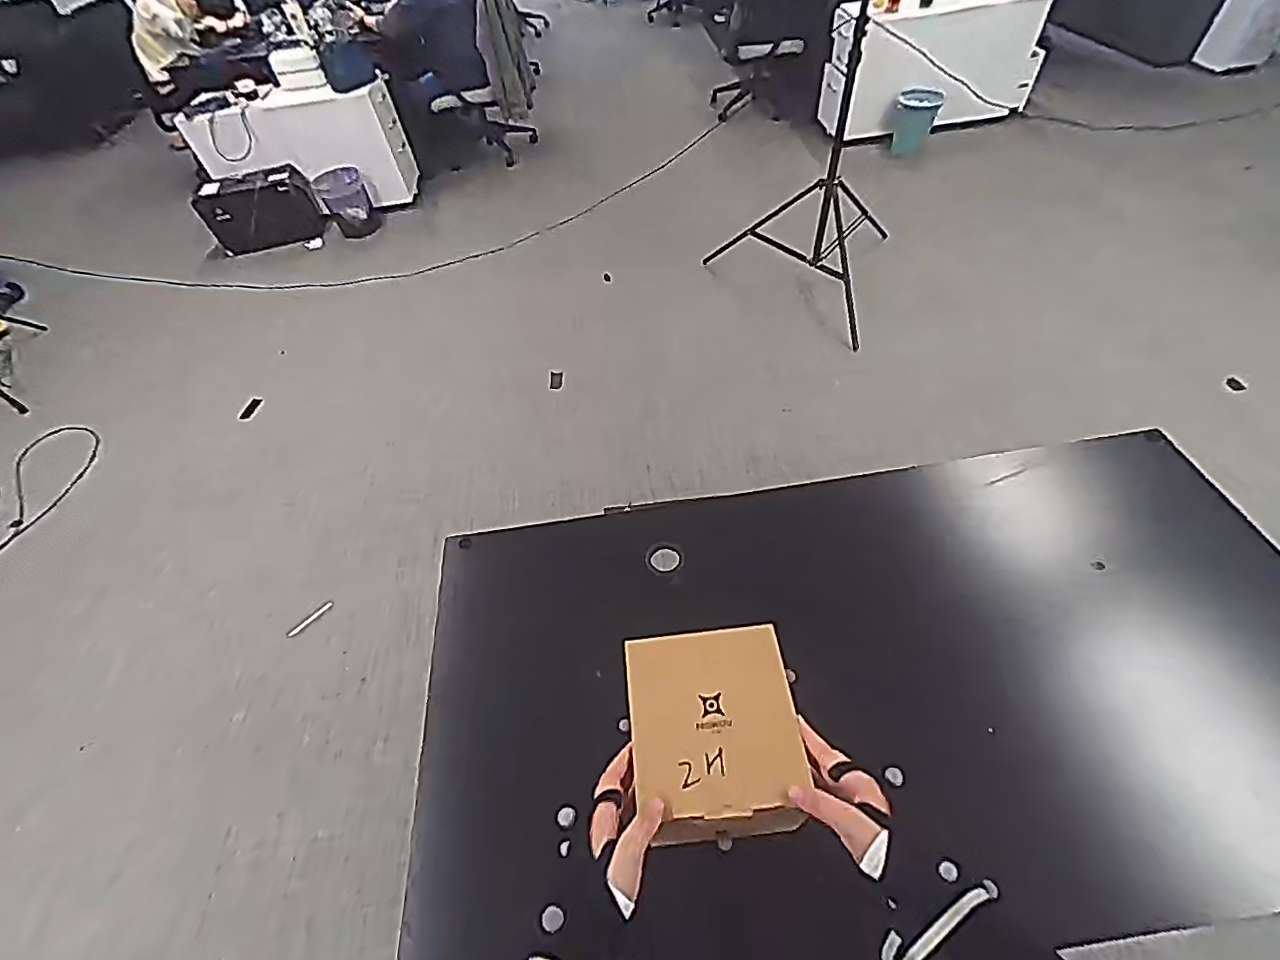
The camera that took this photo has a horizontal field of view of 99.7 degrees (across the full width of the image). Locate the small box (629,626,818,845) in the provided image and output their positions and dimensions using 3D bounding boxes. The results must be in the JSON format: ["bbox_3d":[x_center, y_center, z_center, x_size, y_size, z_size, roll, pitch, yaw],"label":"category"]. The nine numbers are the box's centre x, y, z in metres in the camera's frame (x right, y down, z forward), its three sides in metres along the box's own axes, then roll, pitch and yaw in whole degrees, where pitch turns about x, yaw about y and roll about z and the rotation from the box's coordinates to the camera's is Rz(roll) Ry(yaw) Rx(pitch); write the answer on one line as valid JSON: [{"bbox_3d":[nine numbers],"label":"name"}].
[{"bbox_3d":[0.080,0.286,0.601,0.168,0.176,0.179,-7,51,1],"label":"small box"}]
